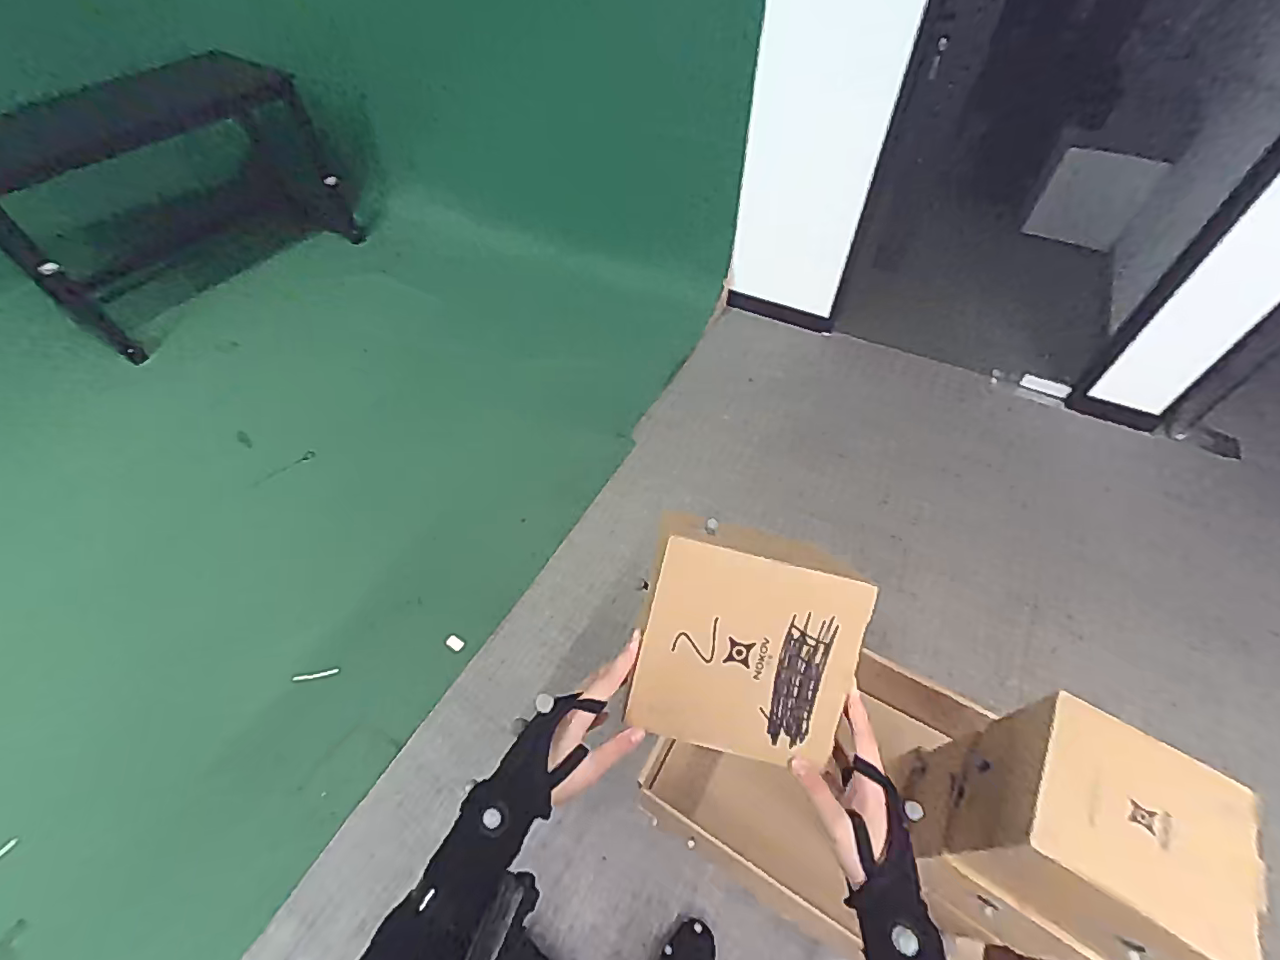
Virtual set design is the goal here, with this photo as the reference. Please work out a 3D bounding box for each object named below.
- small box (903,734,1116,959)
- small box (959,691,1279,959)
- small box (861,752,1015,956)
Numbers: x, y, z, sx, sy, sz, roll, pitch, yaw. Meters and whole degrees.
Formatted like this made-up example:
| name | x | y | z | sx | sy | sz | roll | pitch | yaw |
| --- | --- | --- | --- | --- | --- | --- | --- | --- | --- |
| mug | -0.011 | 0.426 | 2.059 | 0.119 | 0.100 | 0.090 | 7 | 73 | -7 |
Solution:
| name | x | y | z | sx | sy | sz | roll | pitch | yaw |
| --- | --- | --- | --- | --- | --- | --- | --- | --- | --- |
| small box | 0.457 | 0.455 | 0.668 | 0.179 | 0.176 | 0.168 | 28 | 58 | 21 |
| small box | 0.463 | 0.351 | 0.542 | 0.179 | 0.176 | 0.168 | 27 | 57 | 21 |
| small box | 0.451 | 0.549 | 0.803 | 0.168 | 0.176 | 0.179 | 29 | 58 | 22 |
